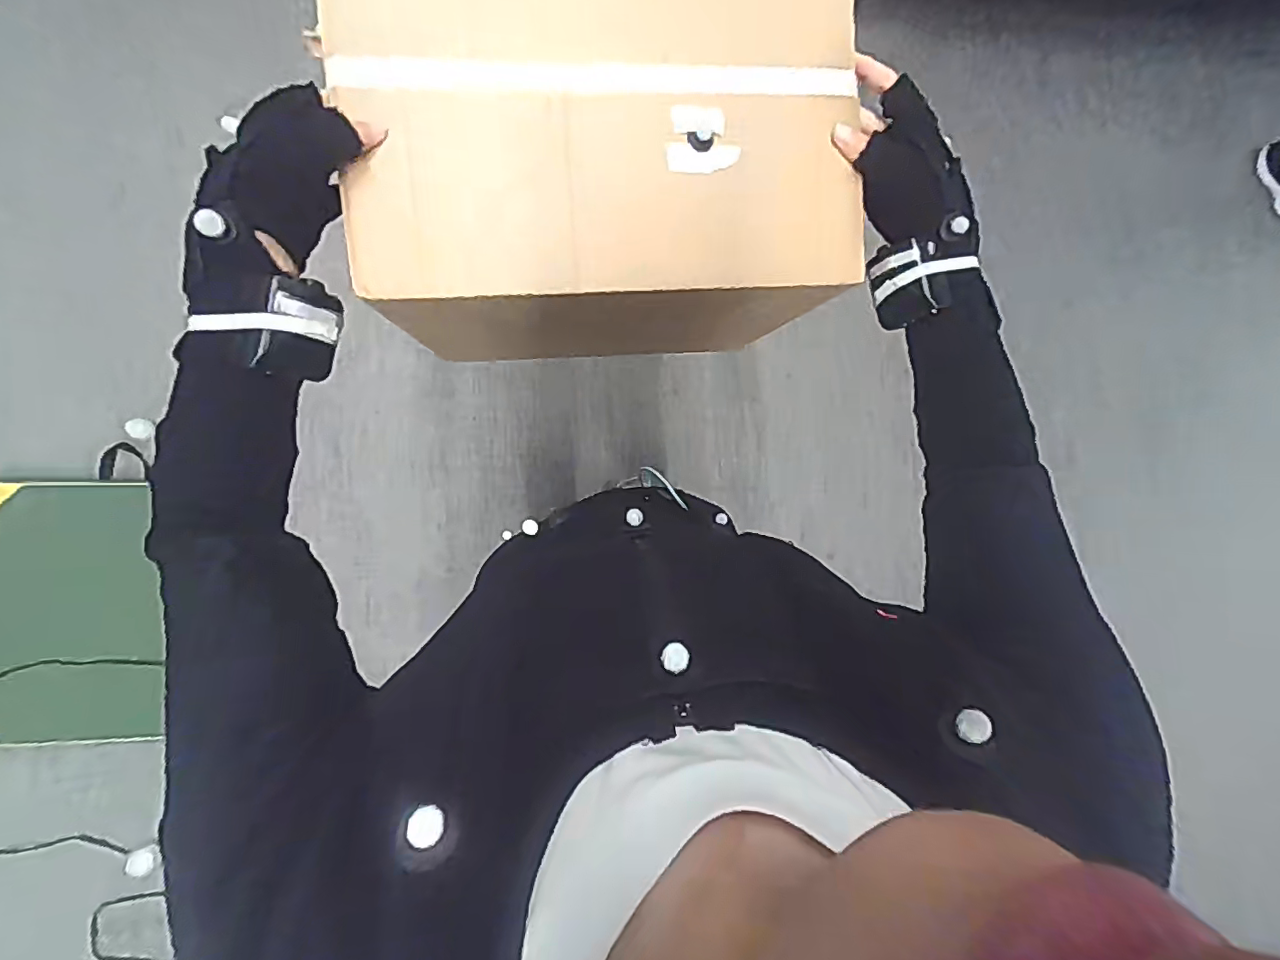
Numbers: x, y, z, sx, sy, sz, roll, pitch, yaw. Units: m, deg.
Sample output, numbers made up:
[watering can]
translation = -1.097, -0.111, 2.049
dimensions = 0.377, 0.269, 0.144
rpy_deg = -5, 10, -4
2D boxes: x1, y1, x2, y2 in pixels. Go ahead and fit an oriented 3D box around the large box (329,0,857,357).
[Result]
[large box]
translation = -0.050, -0.321, 0.564
dimensions = 0.408, 0.320, 0.320
rpy_deg = -6, 95, -10
